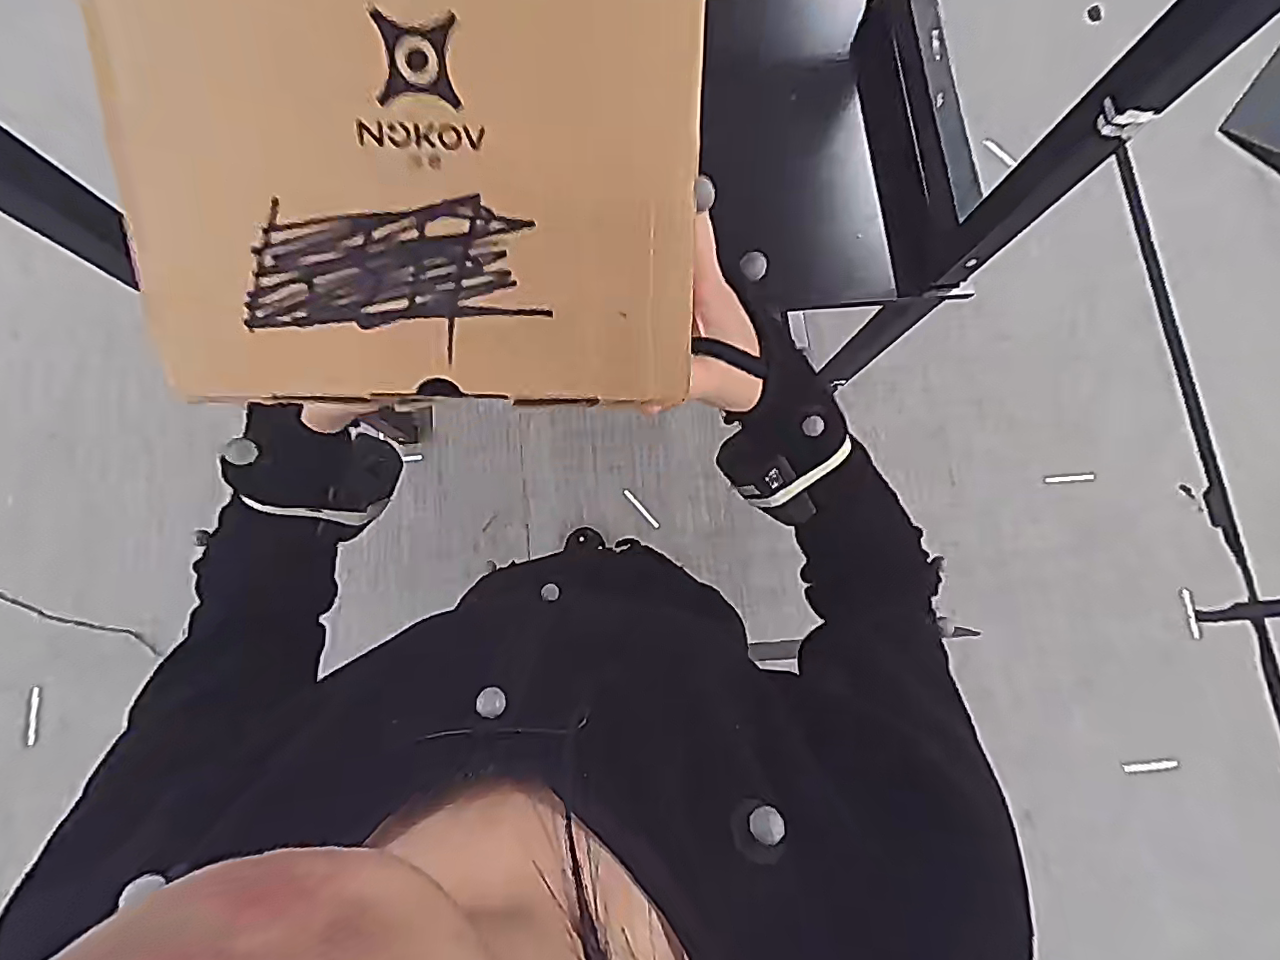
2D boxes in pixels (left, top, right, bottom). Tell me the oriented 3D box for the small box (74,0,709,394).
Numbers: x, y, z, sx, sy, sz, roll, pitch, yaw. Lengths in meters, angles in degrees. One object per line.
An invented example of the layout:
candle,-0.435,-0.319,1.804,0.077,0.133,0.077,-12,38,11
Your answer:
small box,-0.069,-0.135,0.225,0.168,0.176,0.179,0,105,-6
